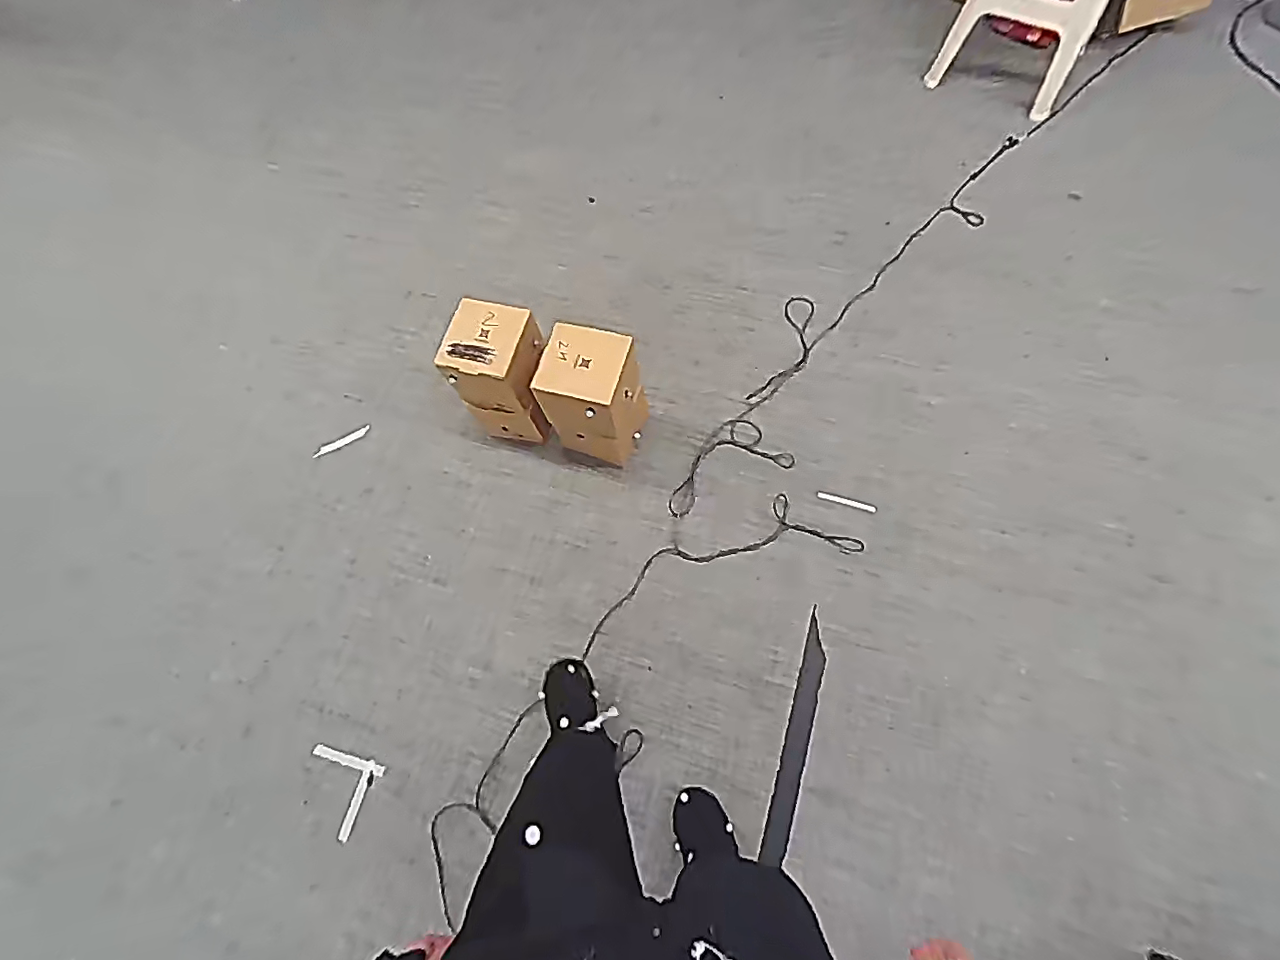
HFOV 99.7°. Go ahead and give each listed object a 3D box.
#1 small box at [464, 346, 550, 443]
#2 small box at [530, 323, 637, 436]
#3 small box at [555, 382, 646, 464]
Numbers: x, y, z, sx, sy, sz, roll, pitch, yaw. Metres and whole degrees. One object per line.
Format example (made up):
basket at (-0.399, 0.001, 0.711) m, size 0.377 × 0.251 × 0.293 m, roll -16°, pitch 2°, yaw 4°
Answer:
small box at (-0.320, -0.215, 1.381) m, size 0.168 × 0.176 × 0.179 m, roll 8°, pitch 71°, yaw 8°
small box at (-0.113, -0.213, 1.184) m, size 0.179 × 0.176 × 0.168 m, roll 14°, pitch 71°, yaw 11°
small box at (-0.098, -0.157, 1.338) m, size 0.179 × 0.176 × 0.168 m, roll 21°, pitch 73°, yaw 11°
